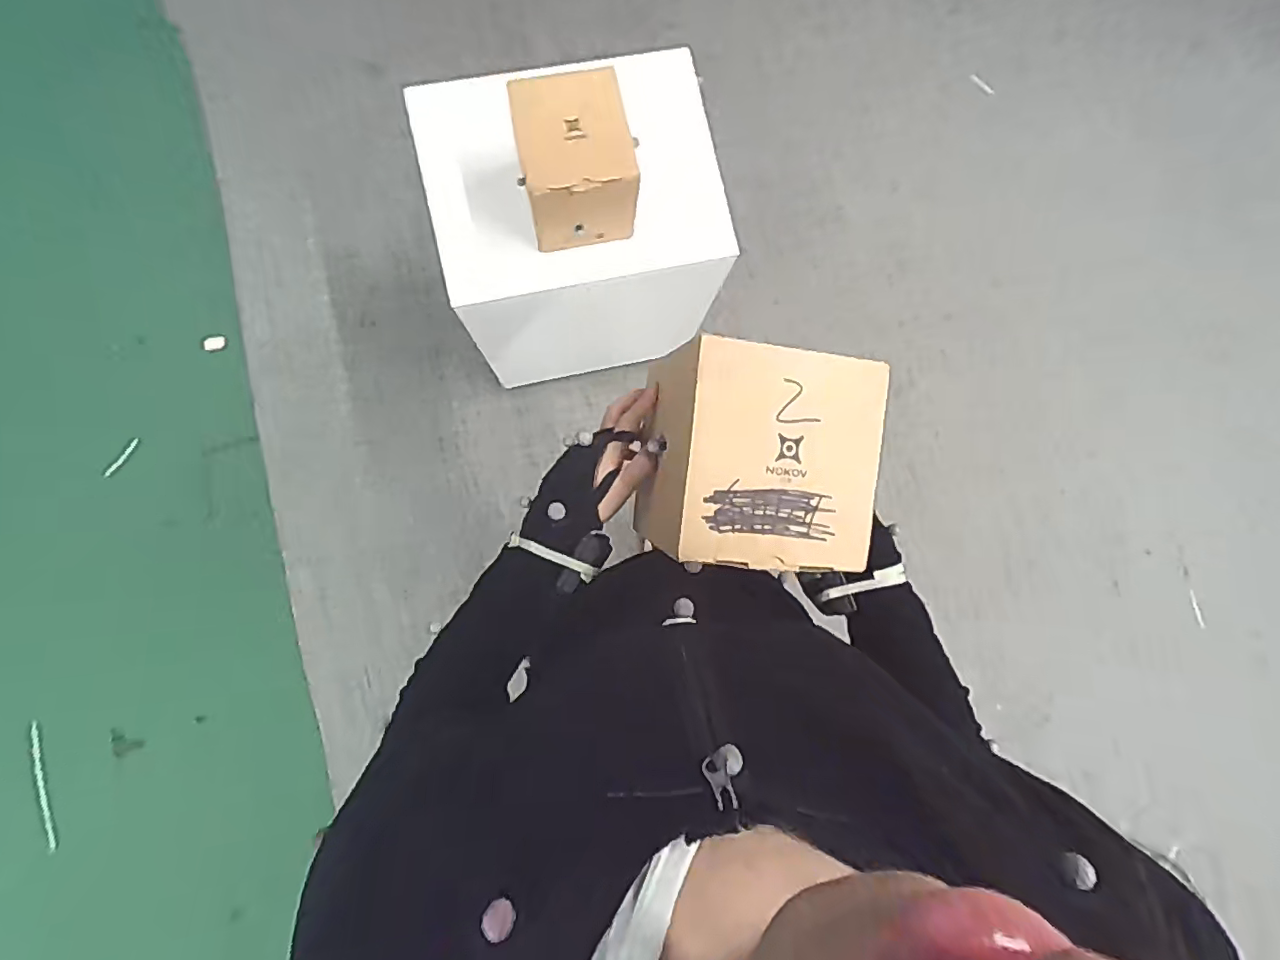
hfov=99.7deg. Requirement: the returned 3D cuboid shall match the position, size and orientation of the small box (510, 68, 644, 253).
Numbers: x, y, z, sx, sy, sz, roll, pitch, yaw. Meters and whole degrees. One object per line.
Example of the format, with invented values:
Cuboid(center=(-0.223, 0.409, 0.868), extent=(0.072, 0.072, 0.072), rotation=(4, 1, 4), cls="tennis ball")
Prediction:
Cuboid(center=(-0.098, -0.489, 0.846), extent=(0.168, 0.176, 0.179), rotation=(-13, 86, -6), cls="small box")
